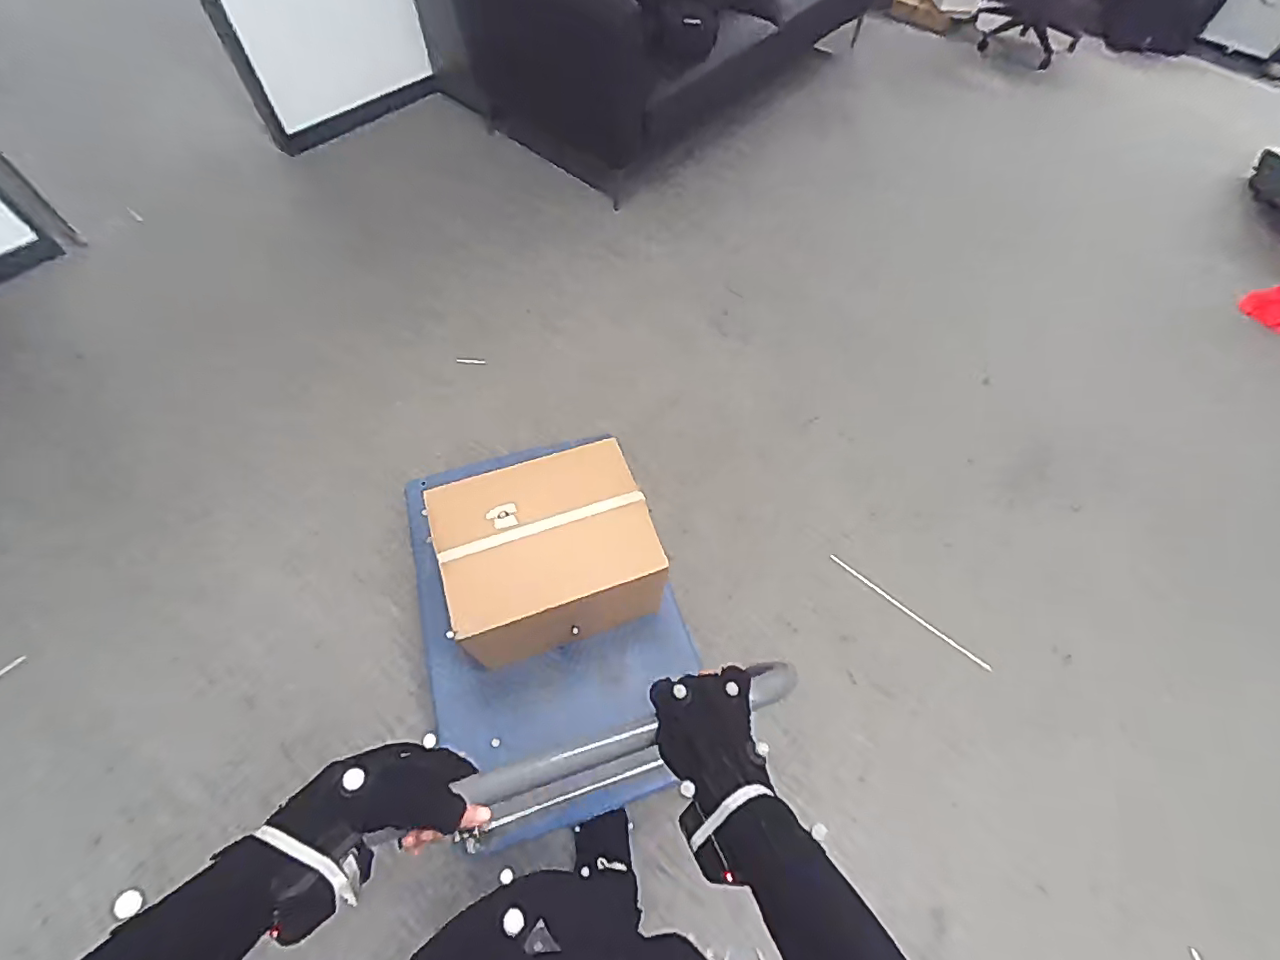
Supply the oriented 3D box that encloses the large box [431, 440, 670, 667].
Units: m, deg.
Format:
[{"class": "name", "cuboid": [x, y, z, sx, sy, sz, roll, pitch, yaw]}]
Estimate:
[{"class": "large box", "cuboid": [-0.184, 0.167, 1.184, 0.408, 0.320, 0.320, -18, 63, -12]}]
